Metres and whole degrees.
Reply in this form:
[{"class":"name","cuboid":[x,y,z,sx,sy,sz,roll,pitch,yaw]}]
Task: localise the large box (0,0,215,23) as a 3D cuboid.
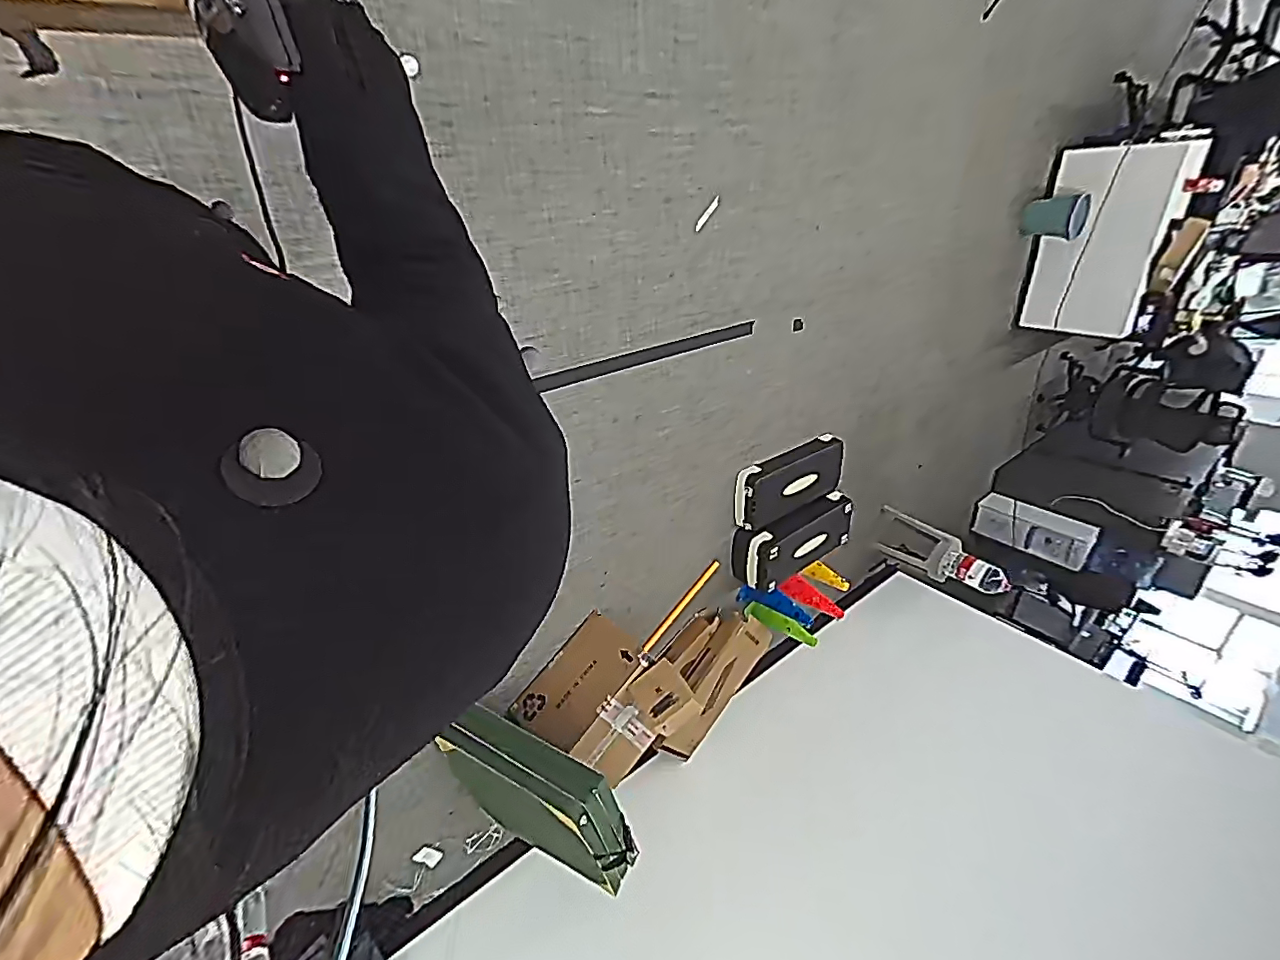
[{"class":"large box","cuboid":[-0.499,-0.429,0.249,0.408,0.320,0.320,-24,134,-30]}]
